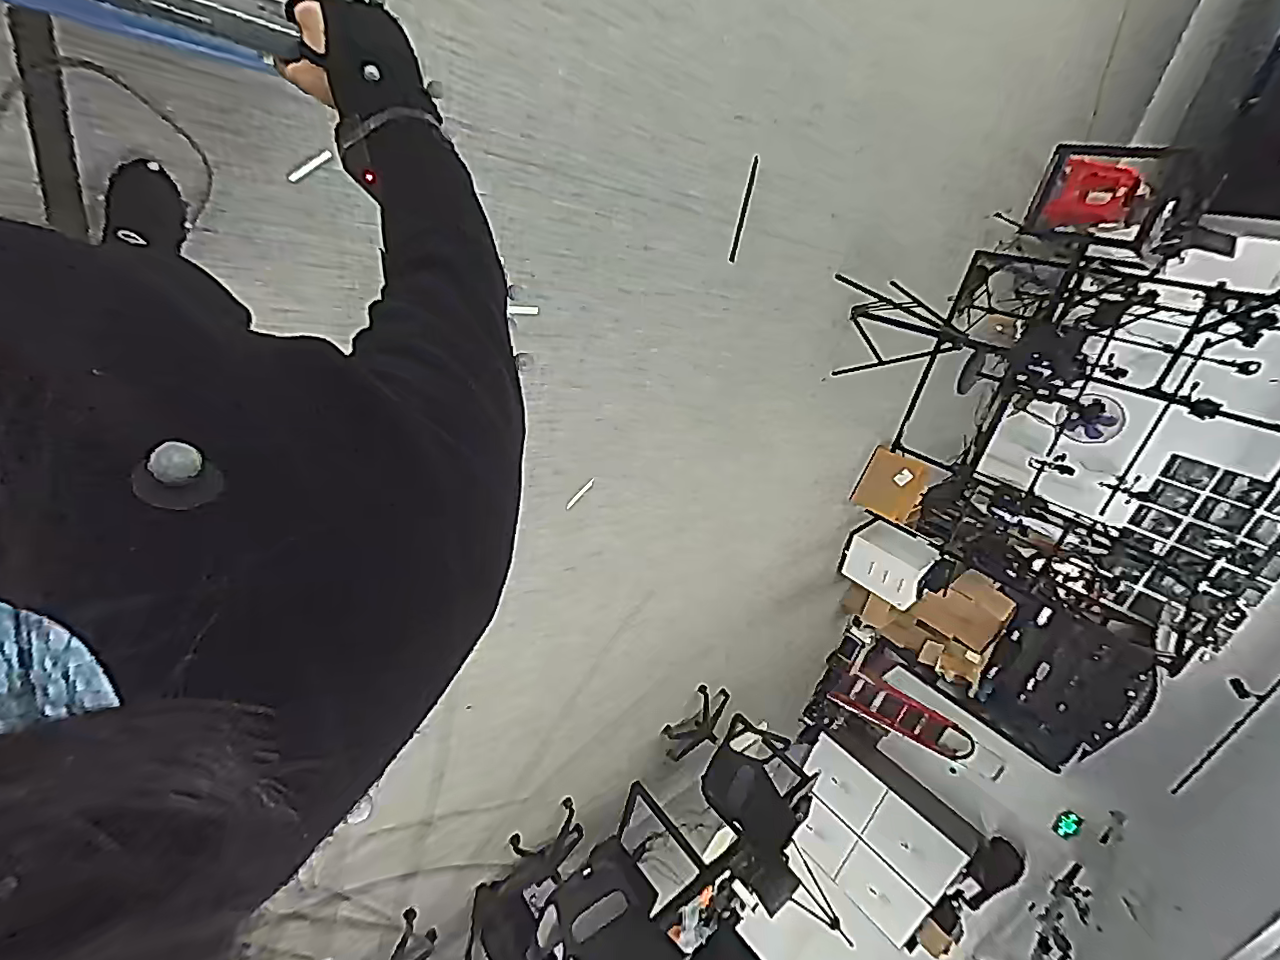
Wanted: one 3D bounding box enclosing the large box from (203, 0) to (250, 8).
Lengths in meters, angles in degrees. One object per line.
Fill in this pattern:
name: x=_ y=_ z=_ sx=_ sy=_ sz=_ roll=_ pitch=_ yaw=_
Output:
large box: x=-0.686 y=-0.807 z=0.604 sx=0.408 sy=0.320 sz=0.320 roll=-13 pitch=126 yaw=-42
